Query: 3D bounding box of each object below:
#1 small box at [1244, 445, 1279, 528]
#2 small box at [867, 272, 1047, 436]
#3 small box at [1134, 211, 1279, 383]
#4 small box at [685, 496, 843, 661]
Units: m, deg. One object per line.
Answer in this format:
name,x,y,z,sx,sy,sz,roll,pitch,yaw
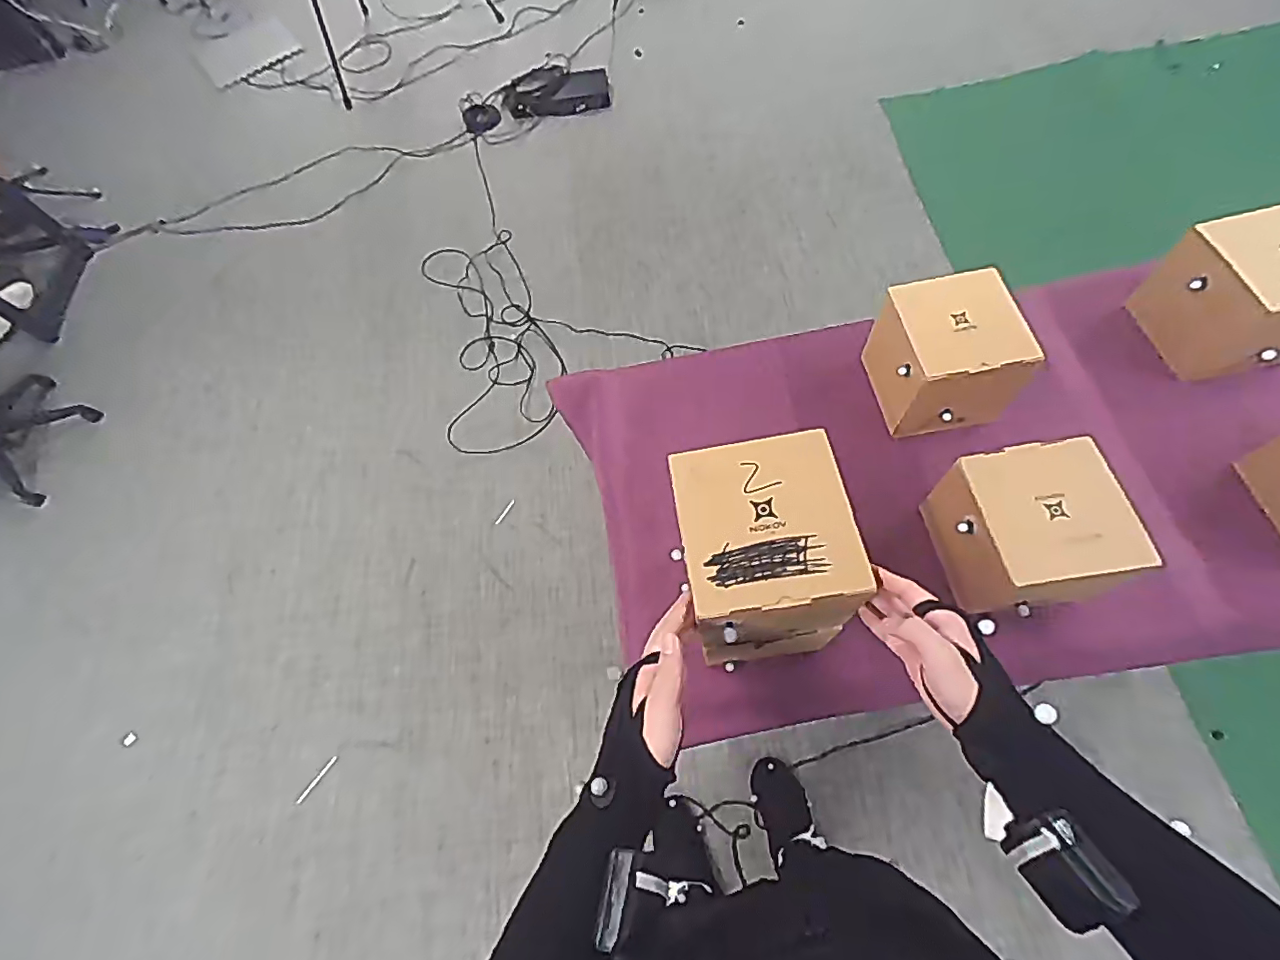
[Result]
small box,0.962,0.007,0.689,0.168,0.176,0.179,-9,61,5
small box,0.482,-0.193,0.859,0.168,0.176,0.179,-9,65,3
small box,0.928,-0.278,0.829,0.168,0.176,0.179,-12,64,6
small box,0.159,0.144,0.740,0.168,0.176,0.179,-9,63,3
